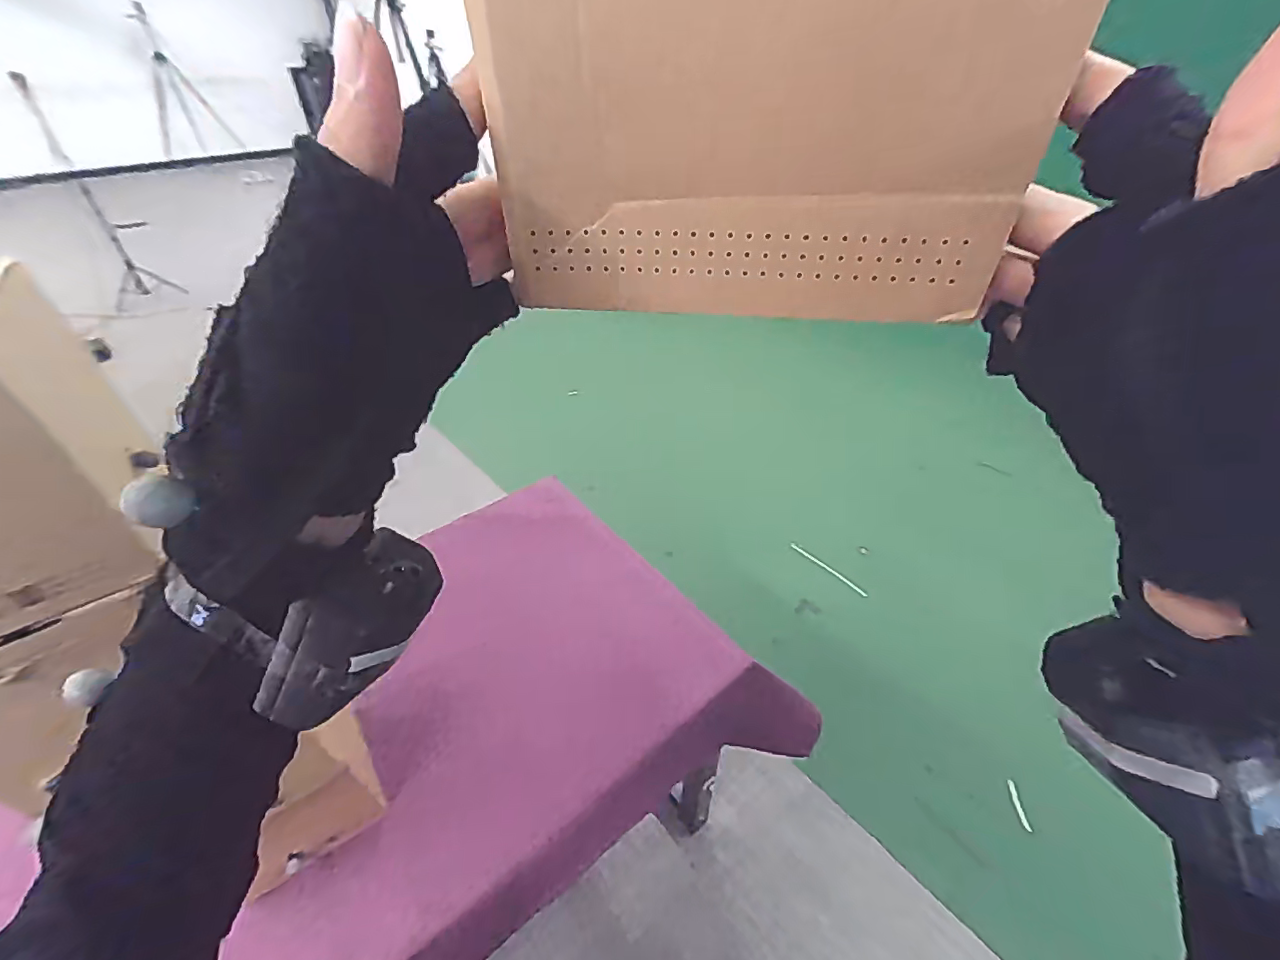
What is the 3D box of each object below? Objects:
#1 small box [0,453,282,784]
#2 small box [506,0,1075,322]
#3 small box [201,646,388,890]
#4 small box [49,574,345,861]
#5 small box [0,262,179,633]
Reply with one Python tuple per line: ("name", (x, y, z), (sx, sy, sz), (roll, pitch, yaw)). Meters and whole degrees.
("small box", (-0.425, 0.111, 0.441), (0.168, 0.176, 0.179), (-26, 45, -27))
("small box", (0.049, -0.178, 0.219), (0.179, 0.176, 0.168), (5, 43, 6))
("small box", (-0.437, 0.350, 0.665), (0.168, 0.176, 0.179), (-26, 46, -26))
("small box", (-0.432, 0.234, 0.549), (0.168, 0.176, 0.179), (-27, 47, -27))
("small box", (-0.430, -0.017, 0.339), (0.168, 0.176, 0.179), (-25, 45, -26))
